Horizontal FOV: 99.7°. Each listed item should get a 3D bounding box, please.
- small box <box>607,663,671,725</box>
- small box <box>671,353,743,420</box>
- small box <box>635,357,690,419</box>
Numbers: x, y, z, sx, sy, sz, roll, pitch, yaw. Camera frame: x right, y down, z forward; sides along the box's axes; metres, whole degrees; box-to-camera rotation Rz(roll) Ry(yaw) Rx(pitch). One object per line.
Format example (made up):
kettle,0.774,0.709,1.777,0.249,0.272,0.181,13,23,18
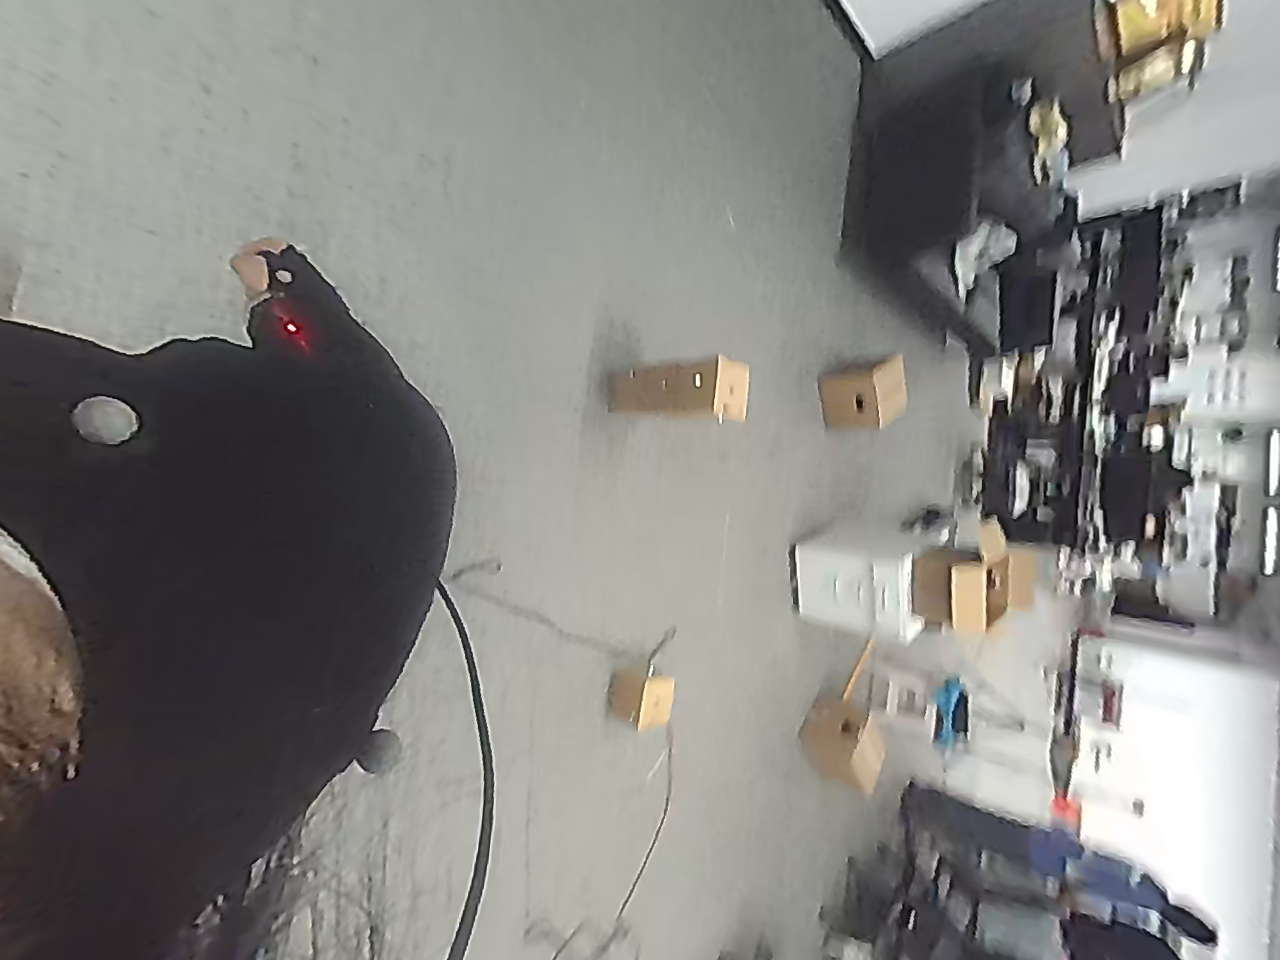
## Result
small box,-0.007,0.804,2.052,0.168,0.176,0.179,12,84,-44
small box,0.217,-0.299,1.762,0.168,0.176,0.179,7,87,-44
small box,0.098,-0.312,1.874,0.168,0.176,0.179,7,88,-44
